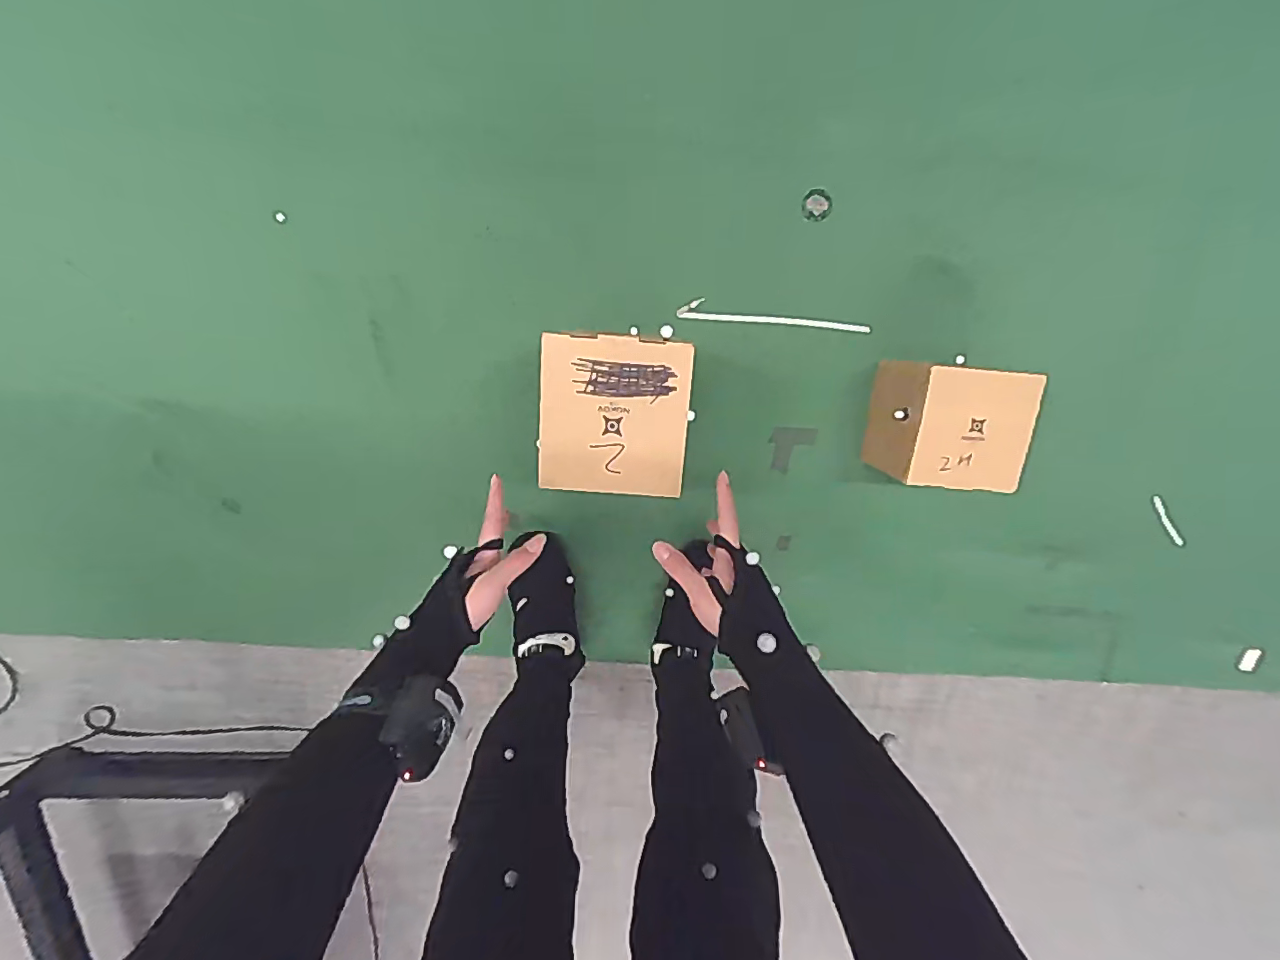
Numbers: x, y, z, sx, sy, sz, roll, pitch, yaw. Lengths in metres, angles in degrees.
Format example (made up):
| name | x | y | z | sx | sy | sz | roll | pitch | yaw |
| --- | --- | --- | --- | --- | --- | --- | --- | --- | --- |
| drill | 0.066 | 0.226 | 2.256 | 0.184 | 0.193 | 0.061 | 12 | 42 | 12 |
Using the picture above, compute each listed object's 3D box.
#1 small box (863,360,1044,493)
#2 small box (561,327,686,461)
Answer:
| name | x | y | z | sx | sy | sz | roll | pitch | yaw |
| --- | --- | --- | --- | --- | --- | --- | --- | --- | --- |
| small box | 0.476 | -0.091 | 0.851 | 0.168 | 0.176 | 0.179 | 5 | 105 | -2 |
| small box | -0.025 | -0.138 | 0.833 | 0.168 | 0.176 | 0.179 | 4 | 104 | -2 |
